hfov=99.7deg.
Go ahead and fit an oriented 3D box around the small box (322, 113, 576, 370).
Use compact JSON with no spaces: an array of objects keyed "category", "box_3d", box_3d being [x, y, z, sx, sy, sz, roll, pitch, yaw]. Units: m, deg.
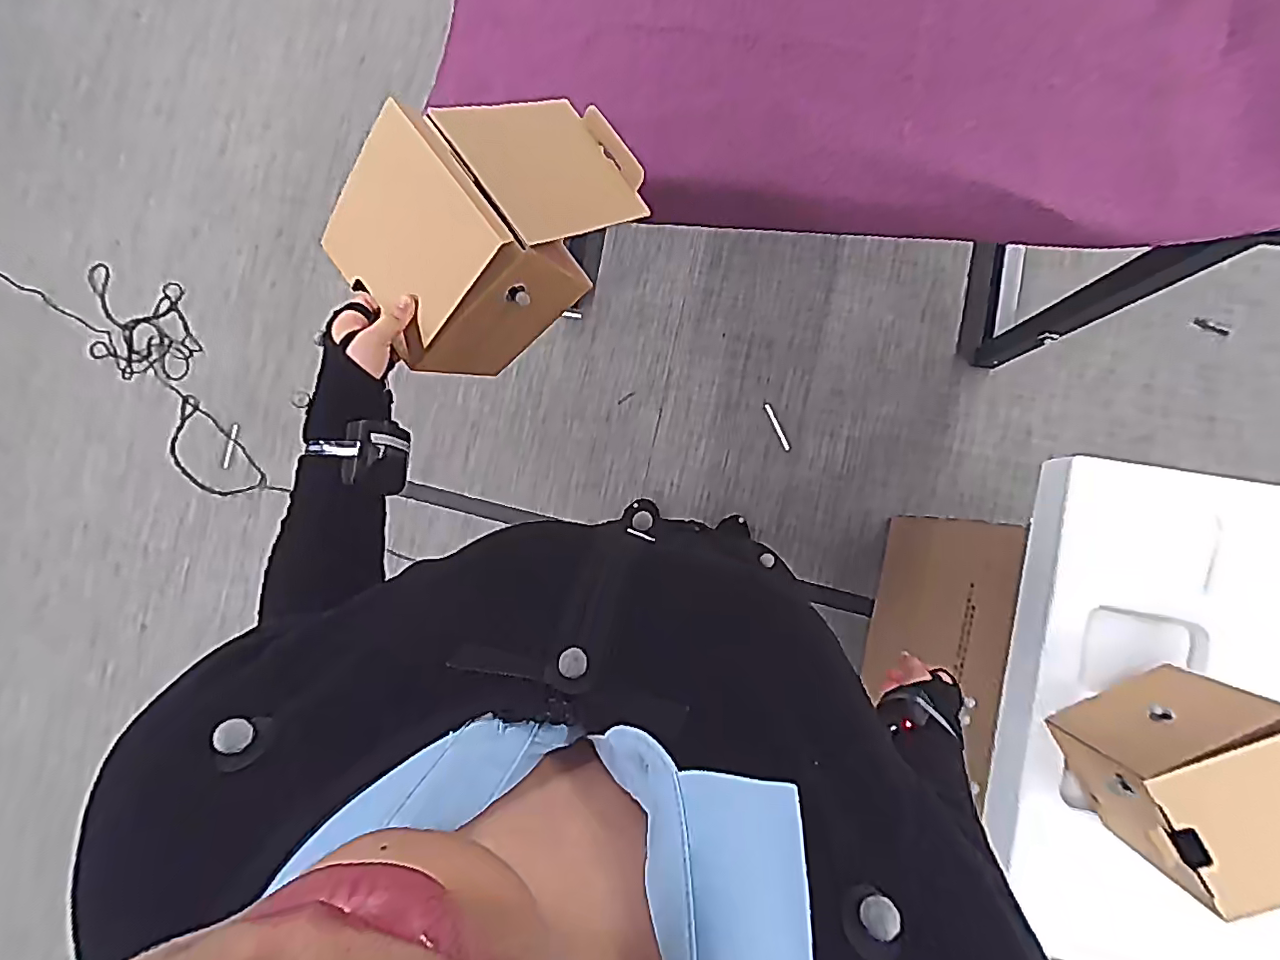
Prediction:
[{"category":"small box","box_3d":[-0.192,-0.241,0.599,0.179,0.176,0.168,-37,86,18]}]
